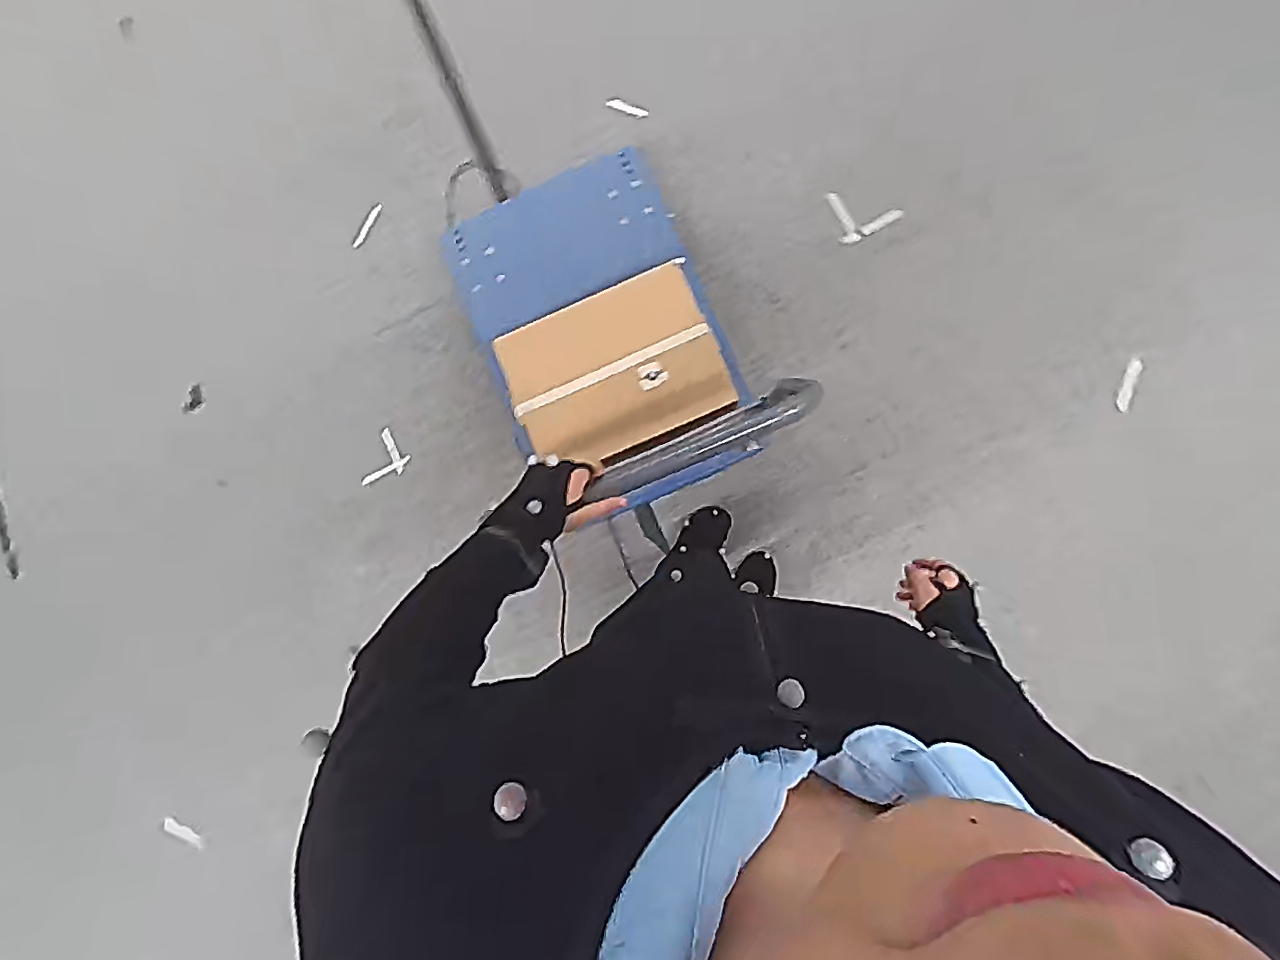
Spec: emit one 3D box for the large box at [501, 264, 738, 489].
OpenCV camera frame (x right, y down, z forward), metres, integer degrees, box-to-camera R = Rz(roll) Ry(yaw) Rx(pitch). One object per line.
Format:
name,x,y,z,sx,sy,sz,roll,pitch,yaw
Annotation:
large box,-0.035,-0.203,1.220,0.408,0.320,0.320,-23,85,2
